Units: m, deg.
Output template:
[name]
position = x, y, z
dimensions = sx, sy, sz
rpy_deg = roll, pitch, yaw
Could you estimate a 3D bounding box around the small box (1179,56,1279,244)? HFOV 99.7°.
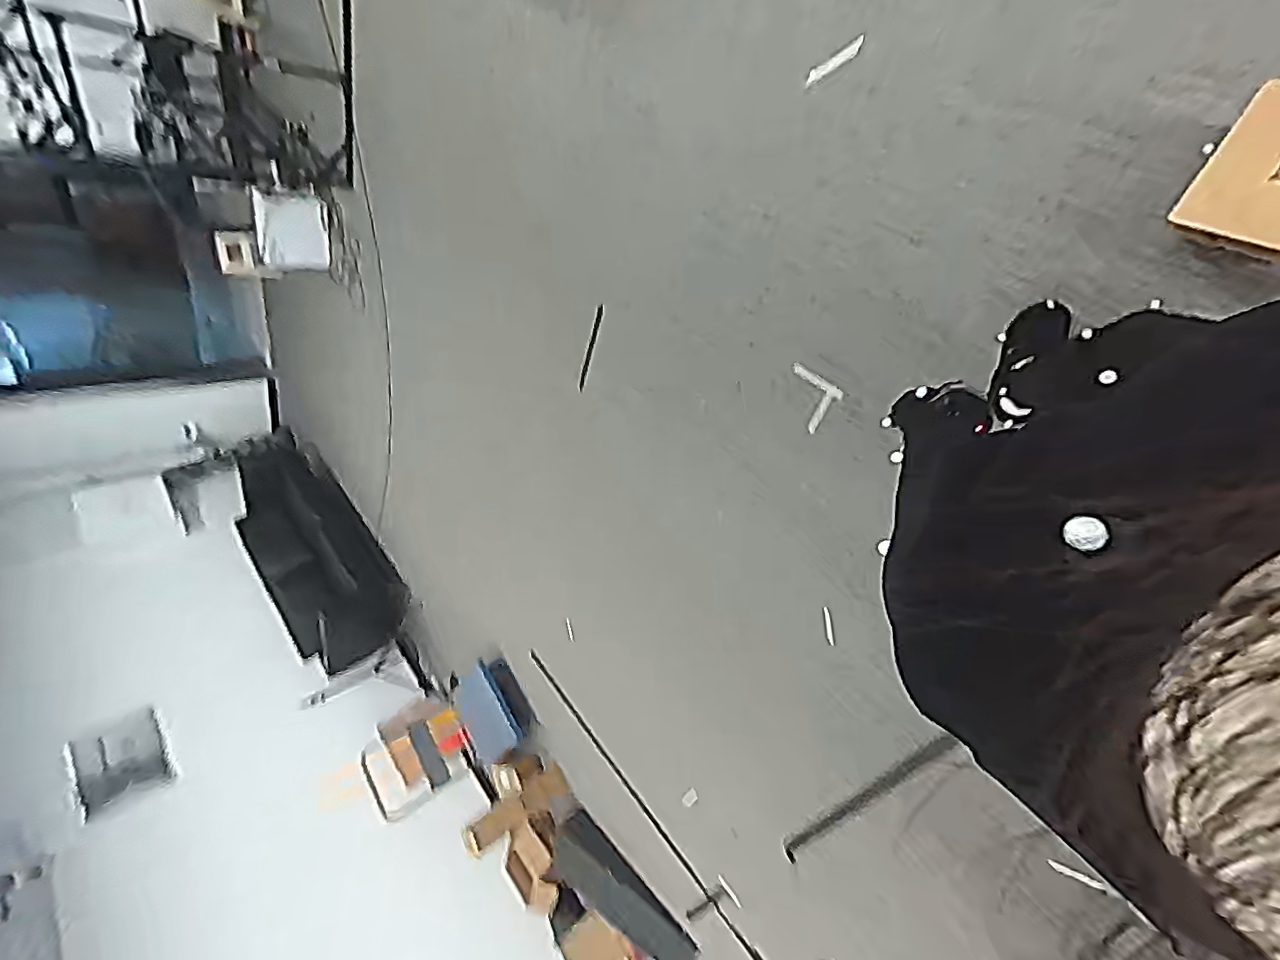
[small box]
position = 0.884, -0.431, 0.717
dimensions = 0.179, 0.176, 0.168
rpy_deg = 49, 118, 47
